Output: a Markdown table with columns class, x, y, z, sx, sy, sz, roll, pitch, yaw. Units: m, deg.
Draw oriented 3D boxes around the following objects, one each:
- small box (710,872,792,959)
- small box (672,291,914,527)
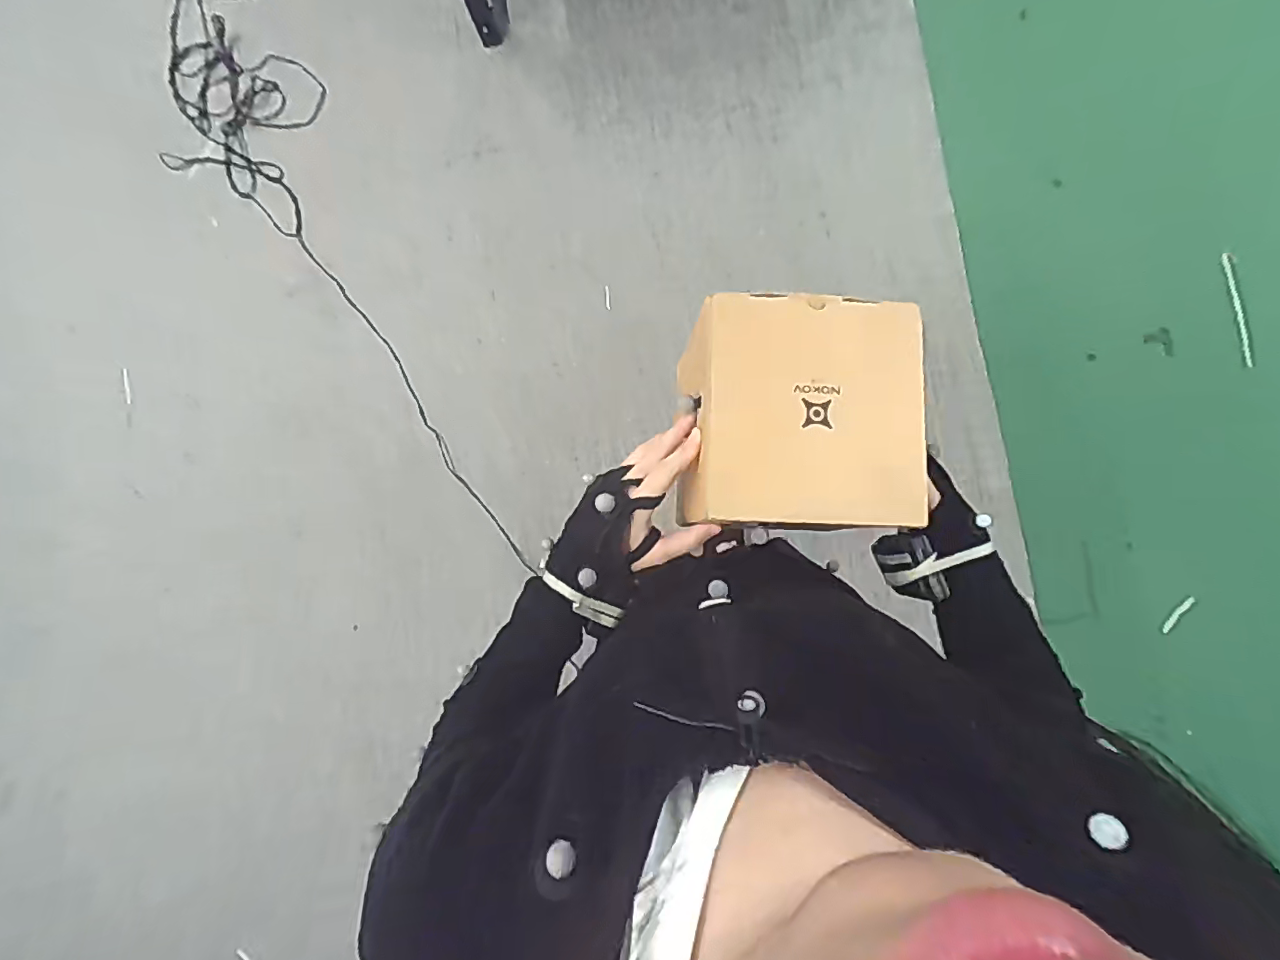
| class | x | y | z | sx | sy | sz | roll | pitch | yaw |
| --- | --- | --- | --- | --- | --- | --- | --- | --- | --- |
| small box | 0.275 | 1.121 | 1.349 | 0.168 | 0.176 | 0.179 | -15 | 85 | 4 |
| small box | 0.120 | -0.048 | 0.487 | 0.168 | 0.176 | 0.179 | 1 | 82 | -3 |
